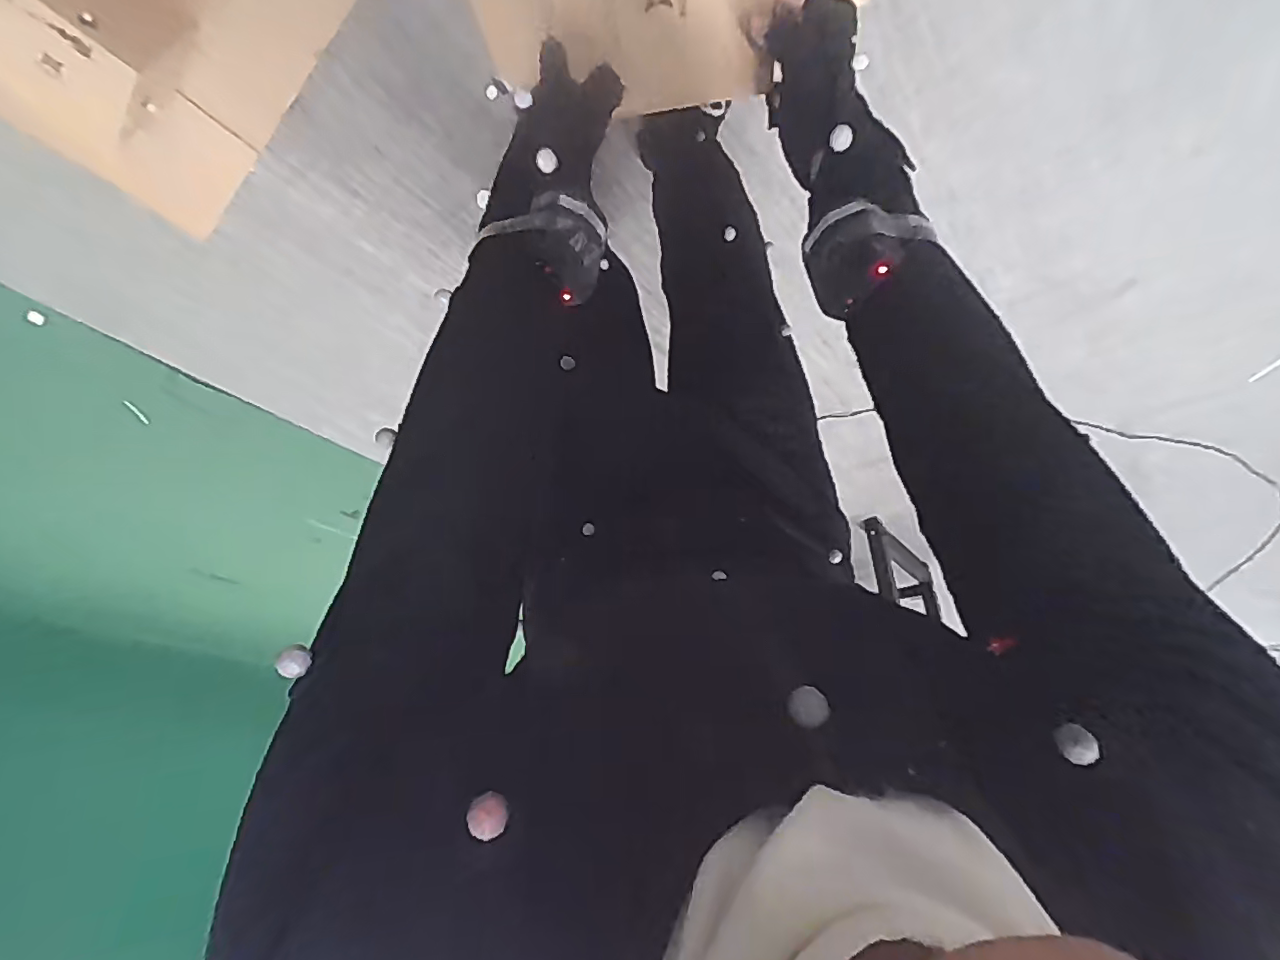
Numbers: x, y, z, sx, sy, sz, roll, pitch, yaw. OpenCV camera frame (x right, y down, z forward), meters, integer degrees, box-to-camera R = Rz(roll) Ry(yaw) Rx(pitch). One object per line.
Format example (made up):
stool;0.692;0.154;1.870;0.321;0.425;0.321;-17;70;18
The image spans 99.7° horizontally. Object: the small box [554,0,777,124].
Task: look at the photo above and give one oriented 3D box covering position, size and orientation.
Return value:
small box;0.023;-0.448;0.468;0.179;0.176;0.168;-2;146;11
